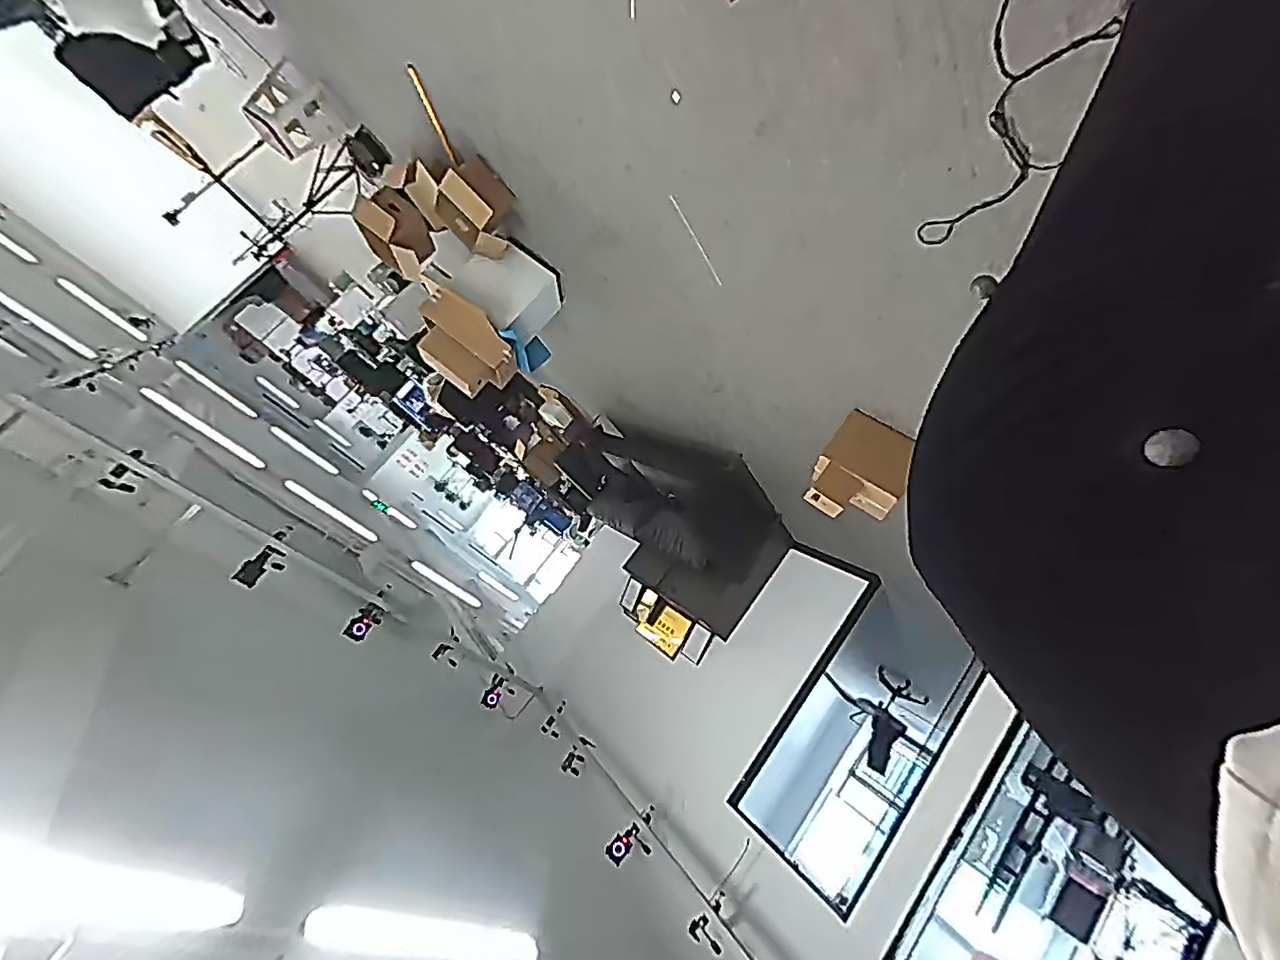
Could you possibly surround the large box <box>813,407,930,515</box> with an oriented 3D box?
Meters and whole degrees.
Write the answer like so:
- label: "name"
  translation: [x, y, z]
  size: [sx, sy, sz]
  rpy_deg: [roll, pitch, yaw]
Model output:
- label: "large box"
  translation: [1.135, -0.095, 2.689]
  size: [0.408, 0.320, 0.320]
  rpy_deg: [33, 168, 20]
